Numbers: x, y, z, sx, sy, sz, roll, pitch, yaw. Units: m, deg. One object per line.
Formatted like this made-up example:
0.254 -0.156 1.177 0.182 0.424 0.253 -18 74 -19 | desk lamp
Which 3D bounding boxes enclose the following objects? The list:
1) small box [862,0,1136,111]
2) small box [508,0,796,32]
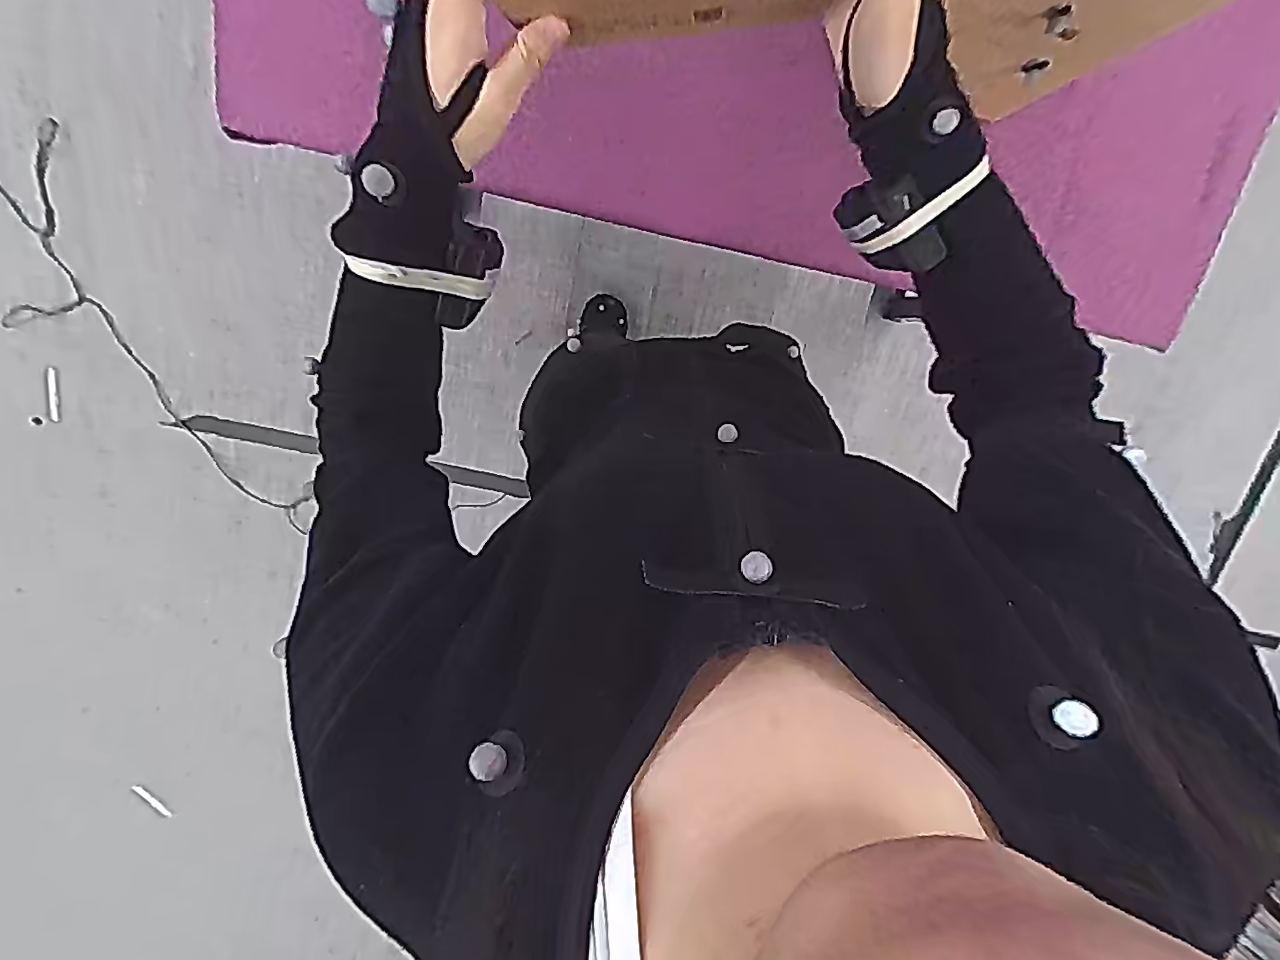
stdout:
0.353 -0.494 0.529 0.179 0.176 0.168 10 105 -4 | small box
-0.001 -0.313 0.213 0.168 0.176 0.179 -1 111 7 | small box
